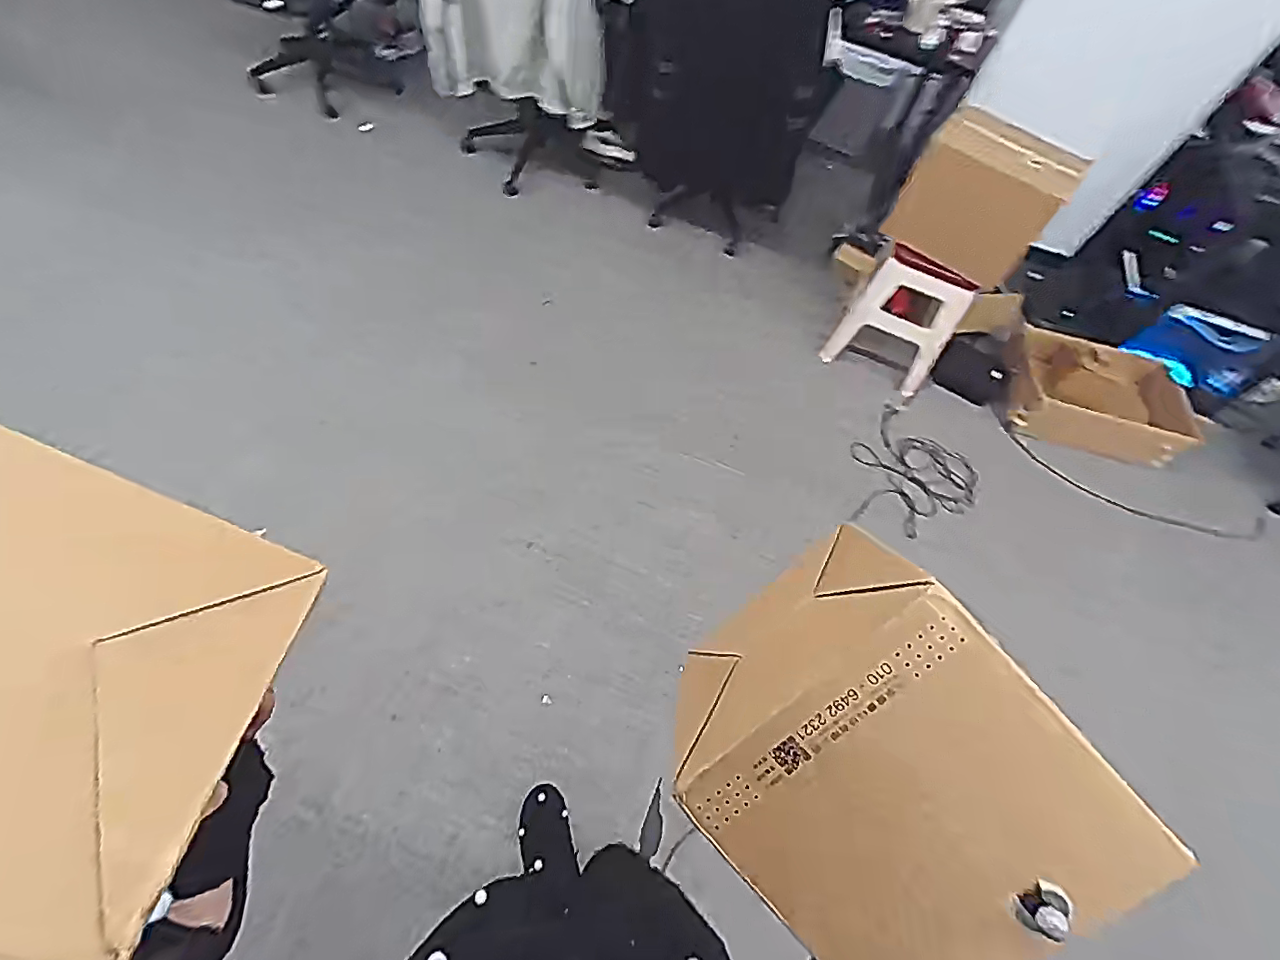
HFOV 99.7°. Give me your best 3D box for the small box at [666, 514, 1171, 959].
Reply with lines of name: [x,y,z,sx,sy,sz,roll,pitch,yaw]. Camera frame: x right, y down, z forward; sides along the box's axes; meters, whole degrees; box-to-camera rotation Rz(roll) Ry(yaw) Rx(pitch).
small box: [0.133,0.140,0.334,0.176,0.179,0.168,45,100,1]

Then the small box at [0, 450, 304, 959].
small box: [-0.248,0.096,0.176,0.168,0.176,0.179,30,11,-24]
